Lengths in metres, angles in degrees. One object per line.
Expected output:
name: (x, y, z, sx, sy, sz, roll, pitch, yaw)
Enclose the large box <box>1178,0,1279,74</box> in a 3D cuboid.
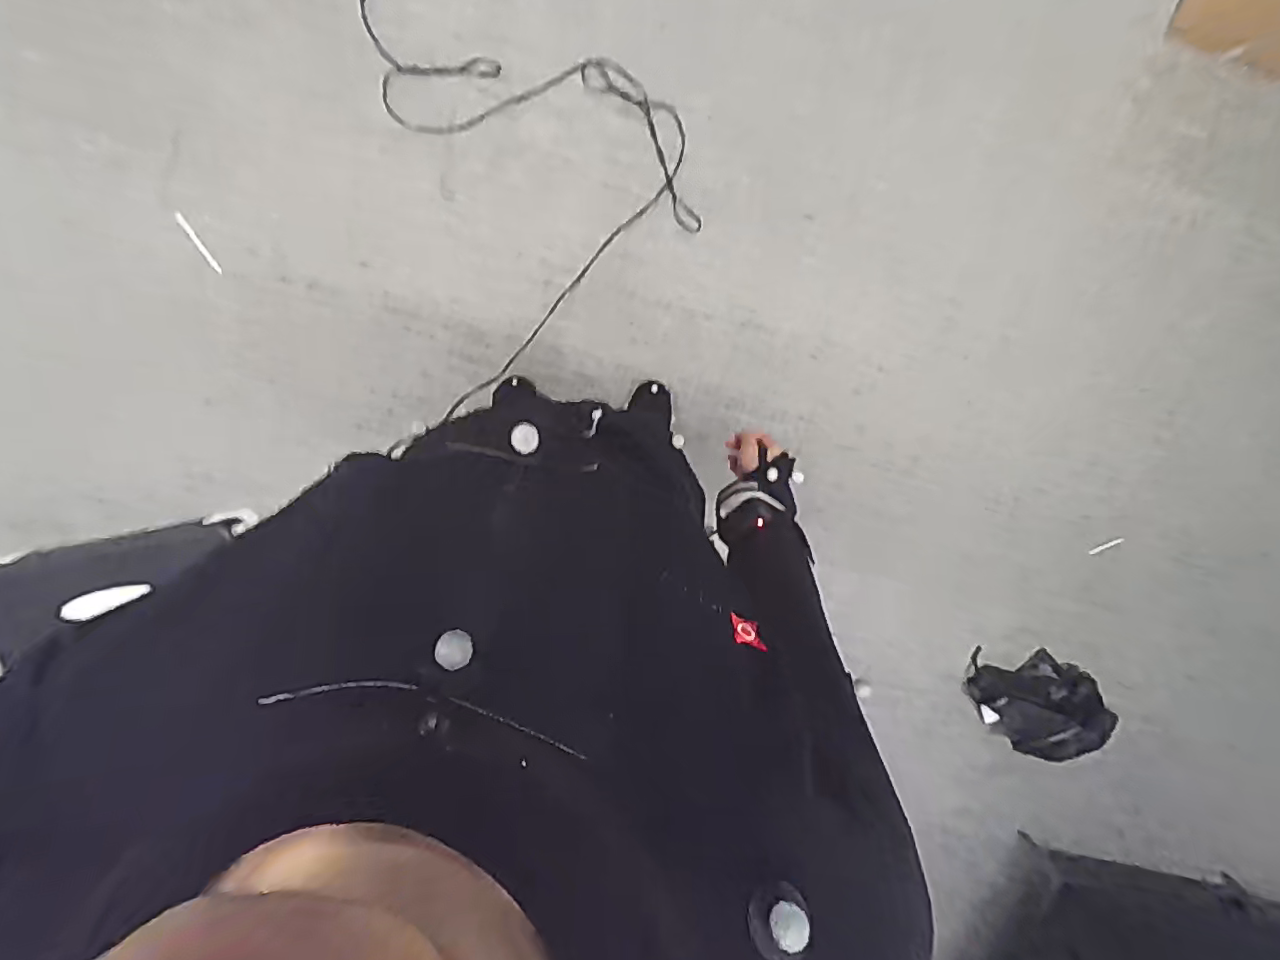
large box: (1.388, -1.101, 1.024, 0.320, 0.320, 0.408, 15, 105, -6)
